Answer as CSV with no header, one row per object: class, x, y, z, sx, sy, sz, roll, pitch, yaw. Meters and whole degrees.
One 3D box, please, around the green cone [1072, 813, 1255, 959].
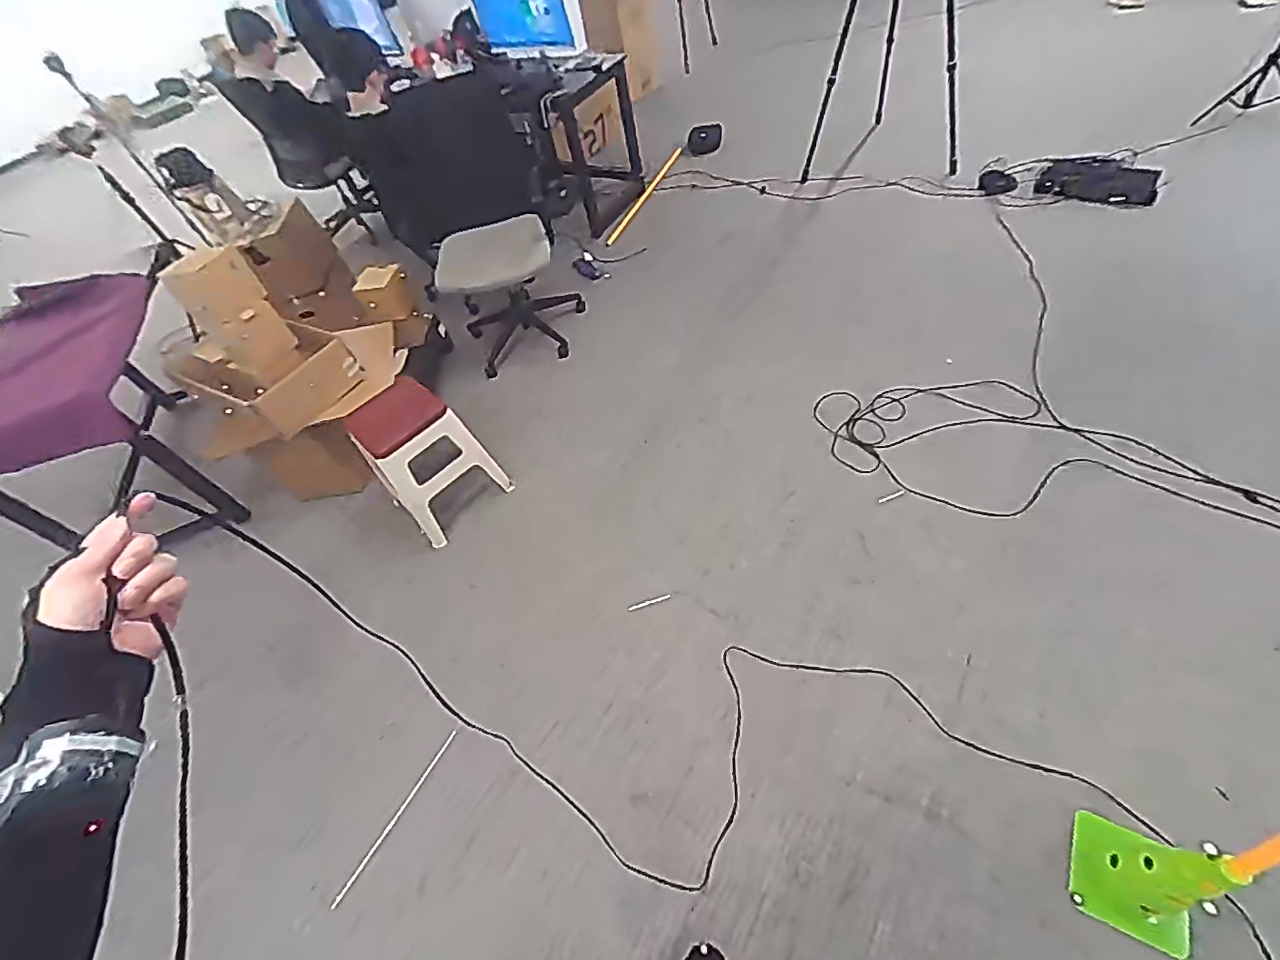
green cone,0.998,0.734,1.001,0.200,0.368,0.202,17,57,25
